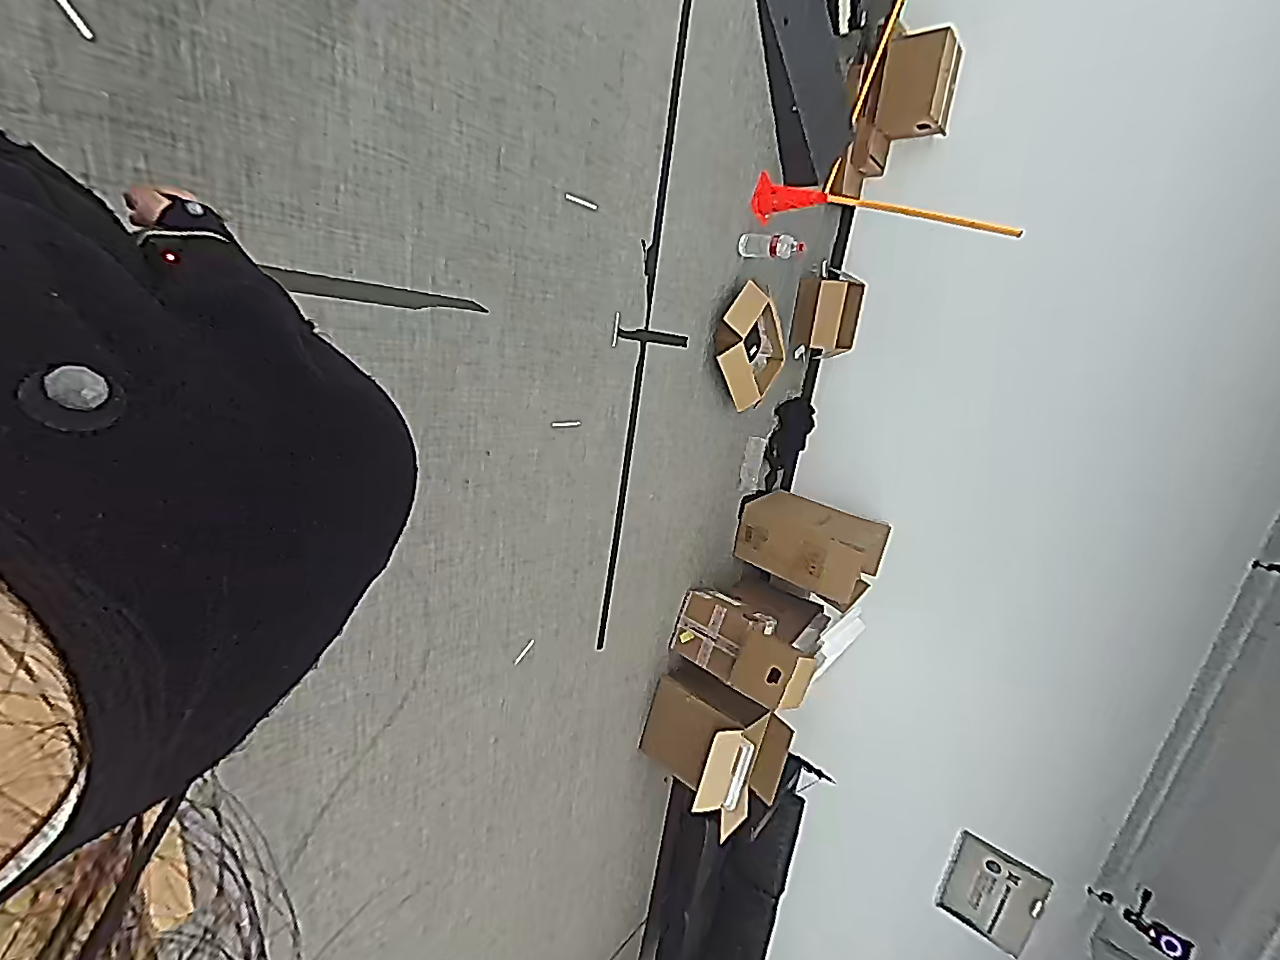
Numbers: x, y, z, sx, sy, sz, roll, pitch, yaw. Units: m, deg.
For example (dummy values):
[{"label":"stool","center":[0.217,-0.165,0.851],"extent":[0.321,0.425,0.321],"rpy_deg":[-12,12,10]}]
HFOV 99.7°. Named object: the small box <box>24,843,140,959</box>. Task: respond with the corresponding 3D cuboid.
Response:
[{"label":"small box","center":[-1.288,0.988,1.250],"extent":[0.168,0.176,0.179],"rpy_deg":[-8,113,-50]}]
